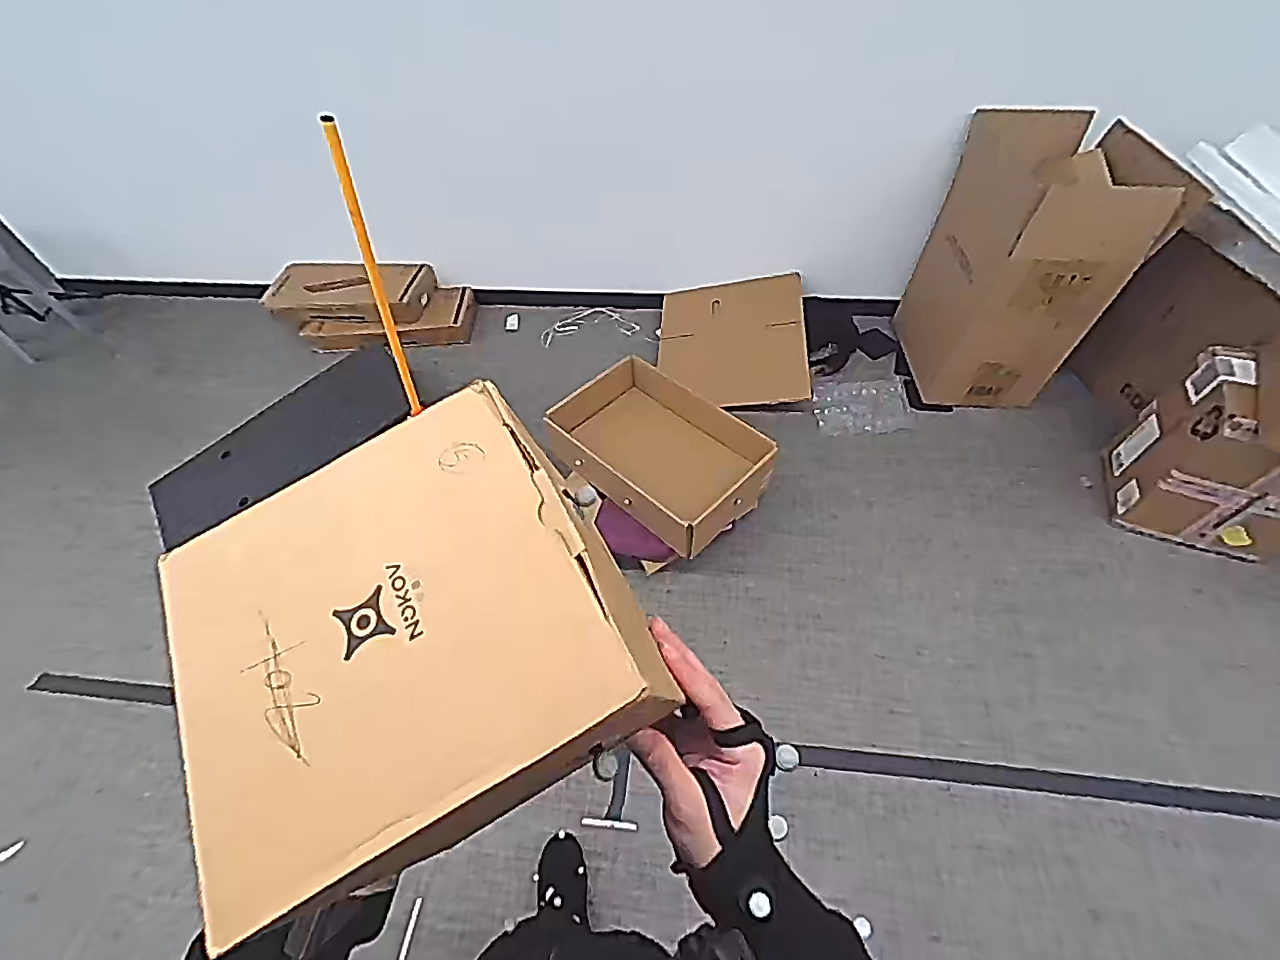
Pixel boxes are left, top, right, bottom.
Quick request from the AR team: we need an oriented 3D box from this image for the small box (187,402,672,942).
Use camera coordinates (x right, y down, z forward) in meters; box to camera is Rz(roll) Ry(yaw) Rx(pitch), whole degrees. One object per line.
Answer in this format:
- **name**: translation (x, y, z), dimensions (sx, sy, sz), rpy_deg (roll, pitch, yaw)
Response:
- **small box**: translation (-0.094, 0.094, 0.307), dimensions (0.179, 0.176, 0.168), rpy_deg (-32, 64, -3)
